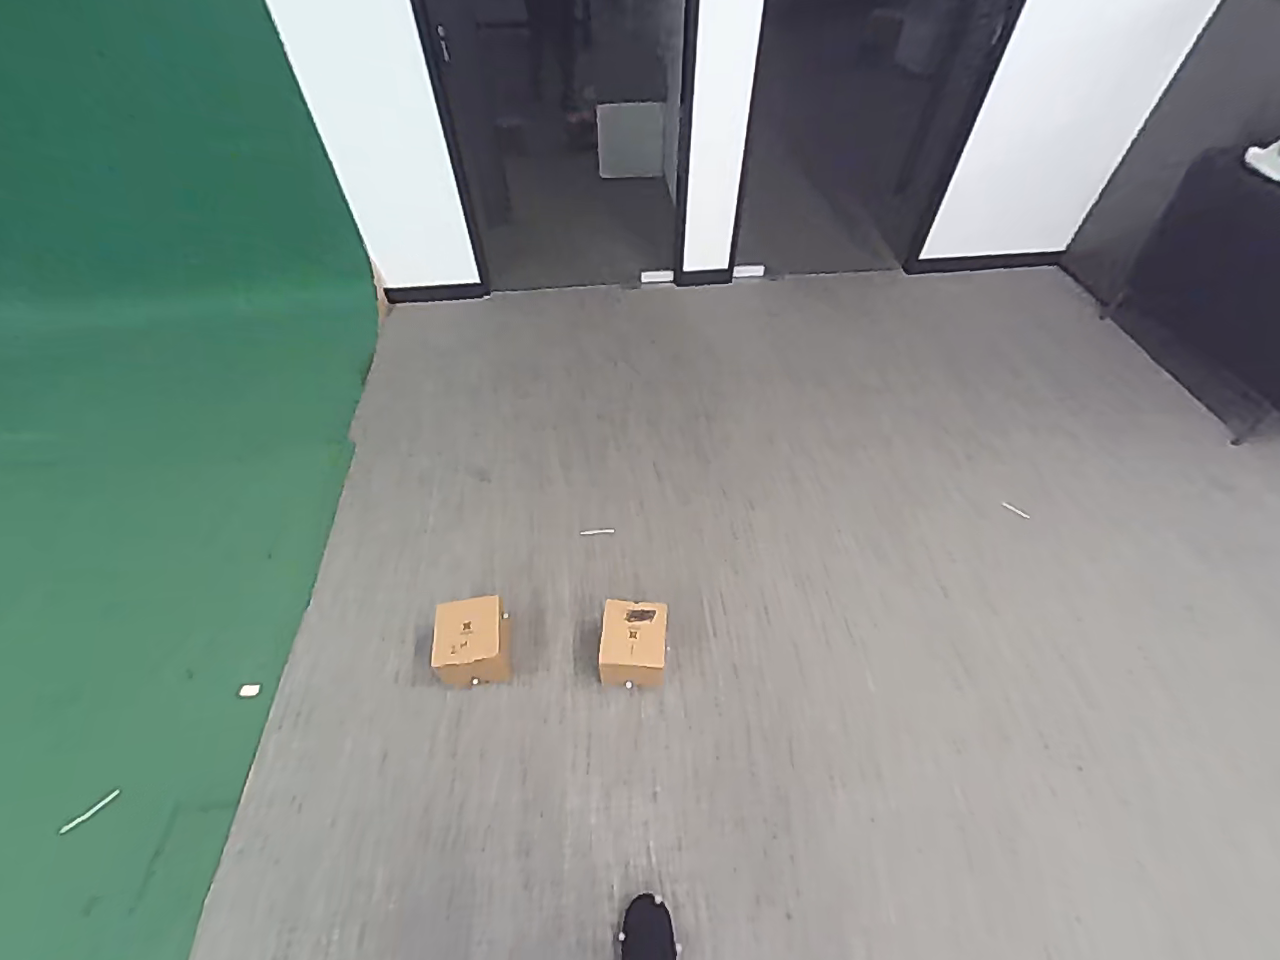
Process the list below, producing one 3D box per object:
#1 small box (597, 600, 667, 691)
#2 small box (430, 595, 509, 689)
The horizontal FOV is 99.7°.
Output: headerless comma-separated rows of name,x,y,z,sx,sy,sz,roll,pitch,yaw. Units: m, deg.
small box,-0.019,0.441,1.438,0.168,0.176,0.179,4,51,3
small box,-0.447,0.434,1.441,0.168,0.176,0.179,-7,50,-6
